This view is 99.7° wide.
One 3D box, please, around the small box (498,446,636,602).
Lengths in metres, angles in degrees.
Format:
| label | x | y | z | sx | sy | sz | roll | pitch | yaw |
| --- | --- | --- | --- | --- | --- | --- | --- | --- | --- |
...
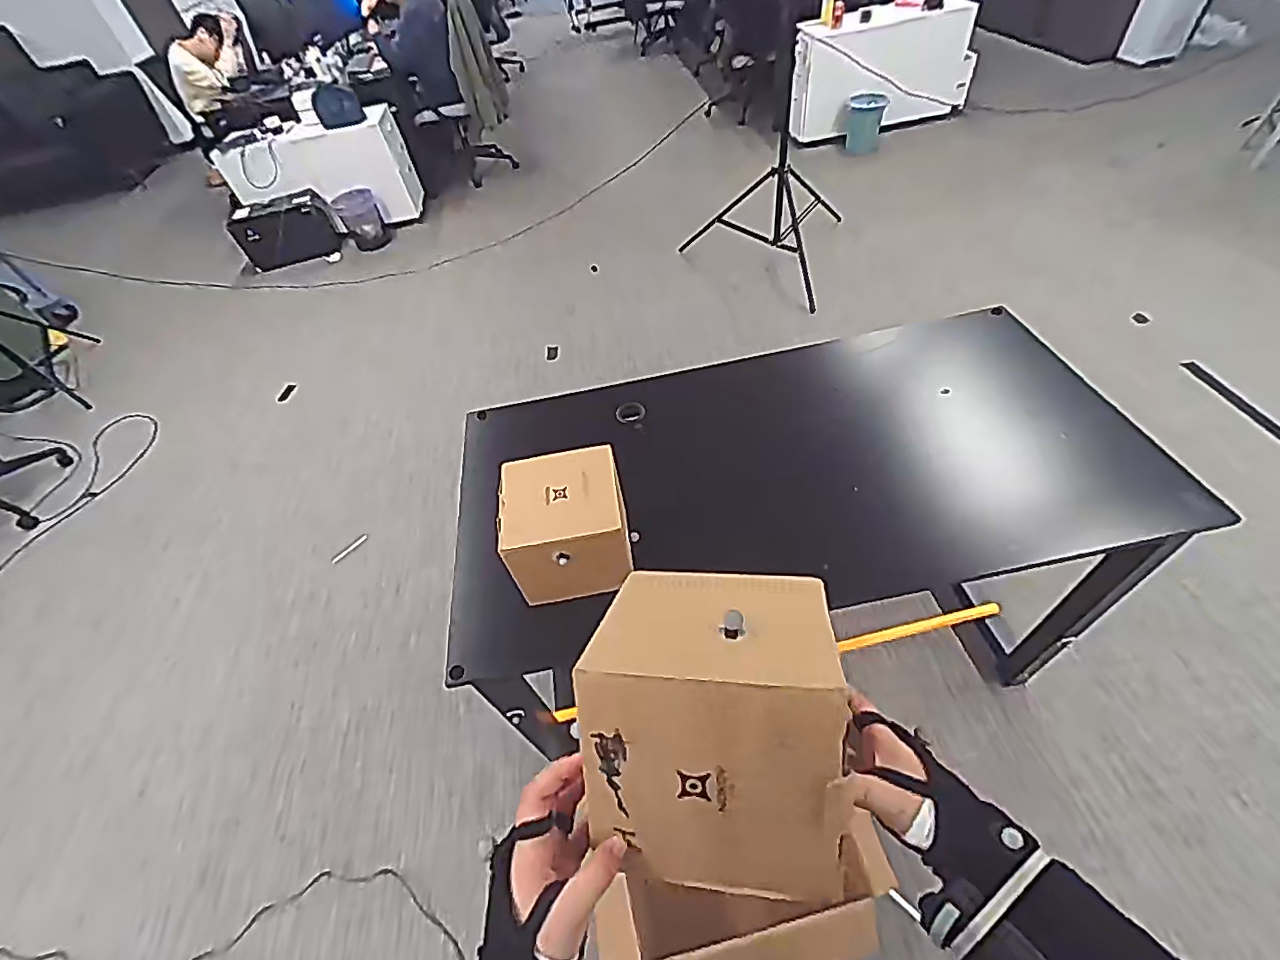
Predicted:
| label | x | y | z | sx | sy | sz | roll | pitch | yaw |
| --- | --- | --- | --- | --- | --- | --- | --- | --- | --- |
| small box | -0.111 | 0.074 | 0.848 | 0.179 | 0.176 | 0.168 | -10 | 50 | -1 |
